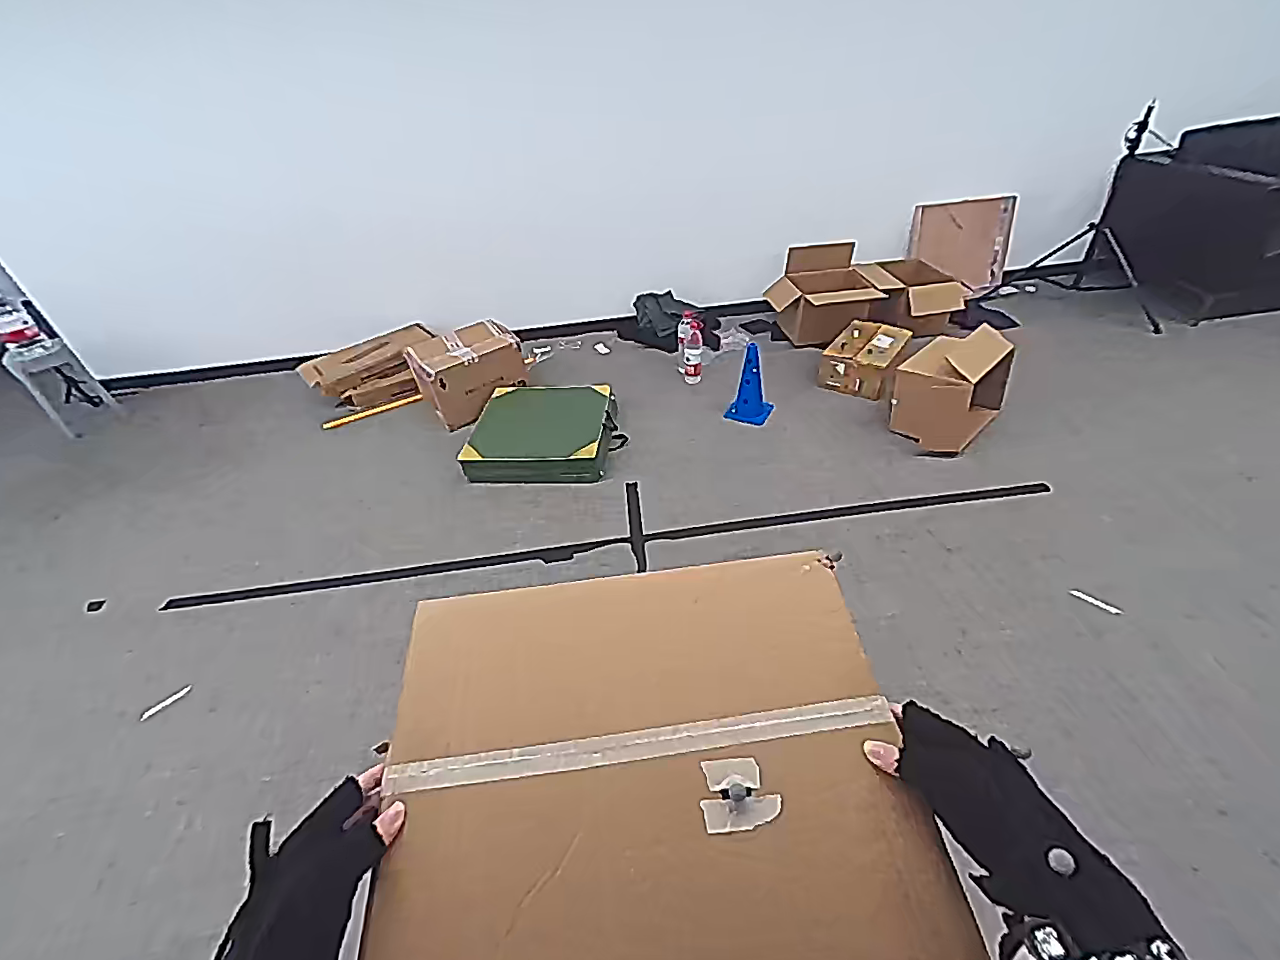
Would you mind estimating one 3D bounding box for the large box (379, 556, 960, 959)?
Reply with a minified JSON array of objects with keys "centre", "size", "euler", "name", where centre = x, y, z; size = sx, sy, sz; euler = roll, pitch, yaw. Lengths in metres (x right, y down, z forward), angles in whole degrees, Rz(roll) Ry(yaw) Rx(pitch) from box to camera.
[{"centre":[0.010,0.315,0.563],"size":[0.408,0.320,0.320],"euler":[-7,50,-2],"name":"large box"}]
